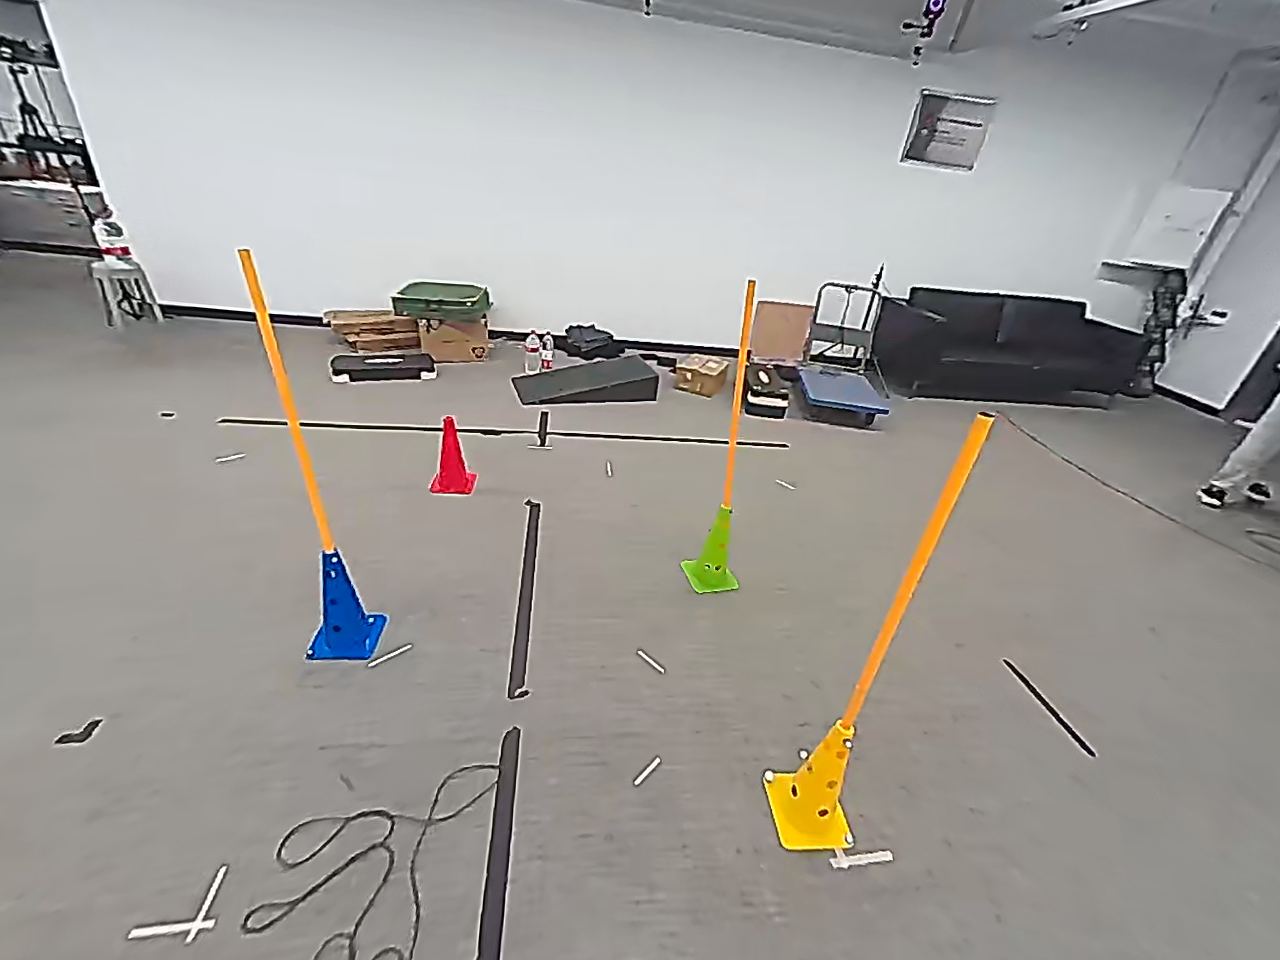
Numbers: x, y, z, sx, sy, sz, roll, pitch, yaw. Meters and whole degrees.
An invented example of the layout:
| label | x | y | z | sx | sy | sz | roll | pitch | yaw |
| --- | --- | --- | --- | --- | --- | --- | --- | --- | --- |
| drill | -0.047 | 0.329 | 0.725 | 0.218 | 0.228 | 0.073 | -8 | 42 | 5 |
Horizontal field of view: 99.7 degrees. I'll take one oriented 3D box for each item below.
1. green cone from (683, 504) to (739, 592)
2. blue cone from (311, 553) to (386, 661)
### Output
| label | x | y | z | sx | sy | sz | roll | pitch | yaw |
| --- | --- | --- | --- | --- | --- | --- | --- | --- | --- |
| green cone | 0.319 | 0.254 | 2.212 | 0.200 | 0.368 | 0.202 | -3 | 33 | -18 |
| blue cone | -0.947 | 0.384 | 1.718 | 0.193 | 0.380 | 0.192 | 4 | 30 | -6 |
